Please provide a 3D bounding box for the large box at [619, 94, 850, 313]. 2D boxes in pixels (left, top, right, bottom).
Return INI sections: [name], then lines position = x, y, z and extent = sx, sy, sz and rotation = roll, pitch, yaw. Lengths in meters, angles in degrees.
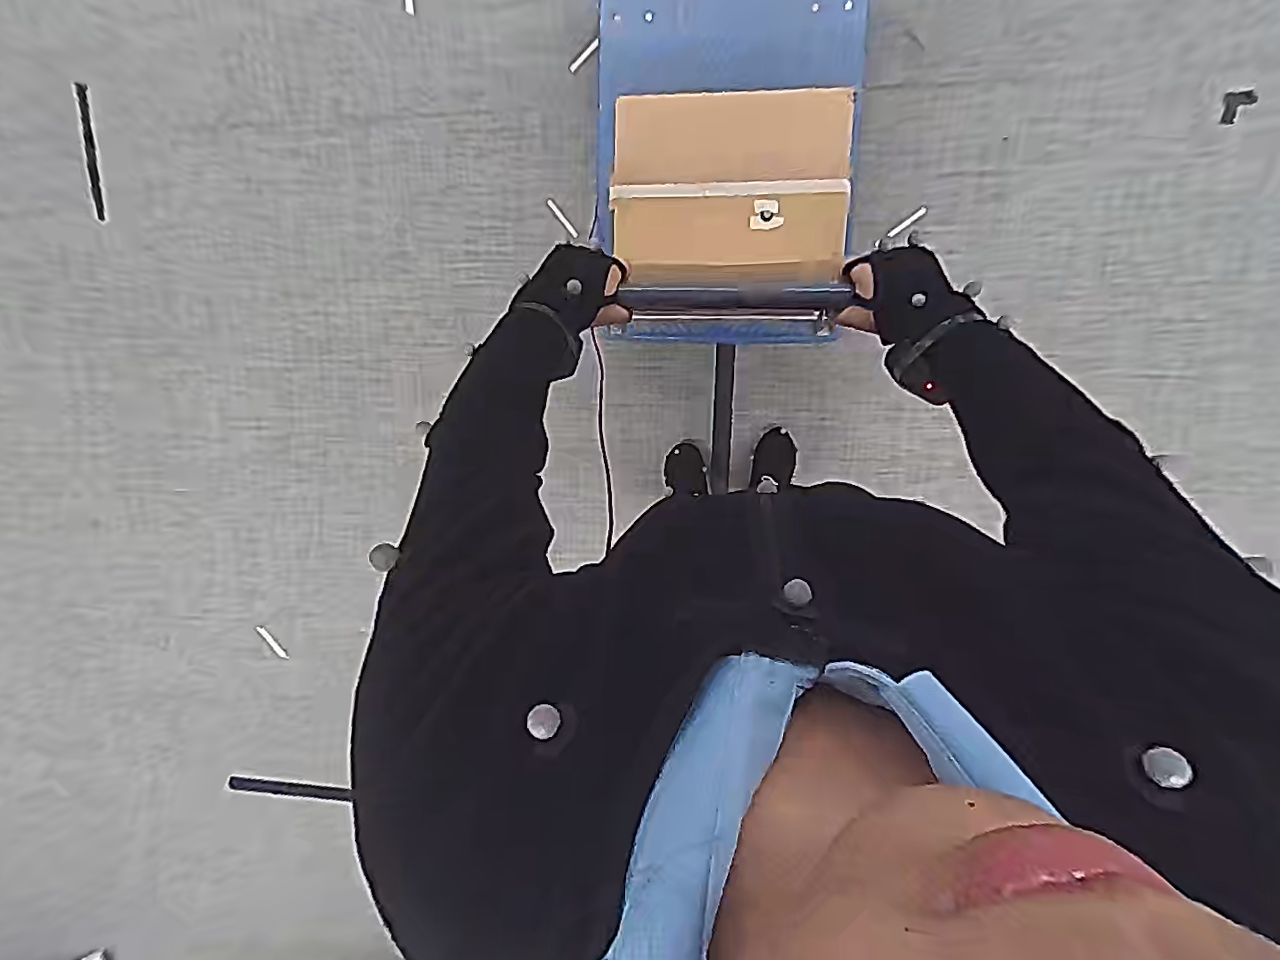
[large box]
position = 0.173, -0.528, 1.103
extent = 0.408, 0.320, 0.320
rotation = 1, 99, 6
